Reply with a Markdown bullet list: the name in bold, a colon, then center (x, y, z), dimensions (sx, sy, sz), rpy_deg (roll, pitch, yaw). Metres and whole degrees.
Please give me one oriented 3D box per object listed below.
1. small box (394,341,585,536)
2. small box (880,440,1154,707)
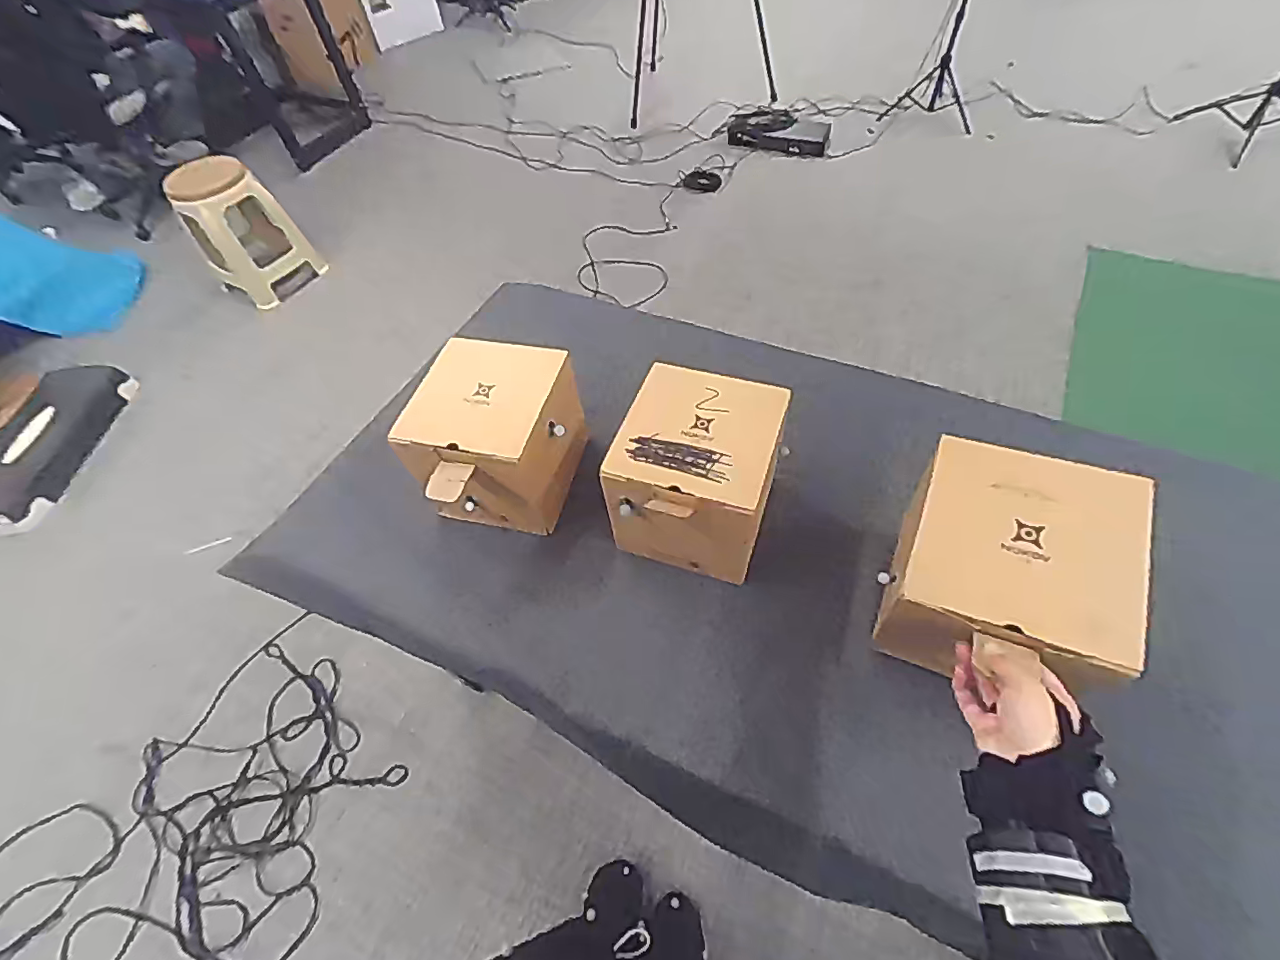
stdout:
- **small box**: center (-0.177, -0.052, 0.707), dimensions (0.168, 0.176, 0.179), rpy_deg (9, 57, 11)
- **small box**: center (0.343, 0.094, 0.521), dimensions (0.168, 0.176, 0.179), rpy_deg (17, 63, 22)
